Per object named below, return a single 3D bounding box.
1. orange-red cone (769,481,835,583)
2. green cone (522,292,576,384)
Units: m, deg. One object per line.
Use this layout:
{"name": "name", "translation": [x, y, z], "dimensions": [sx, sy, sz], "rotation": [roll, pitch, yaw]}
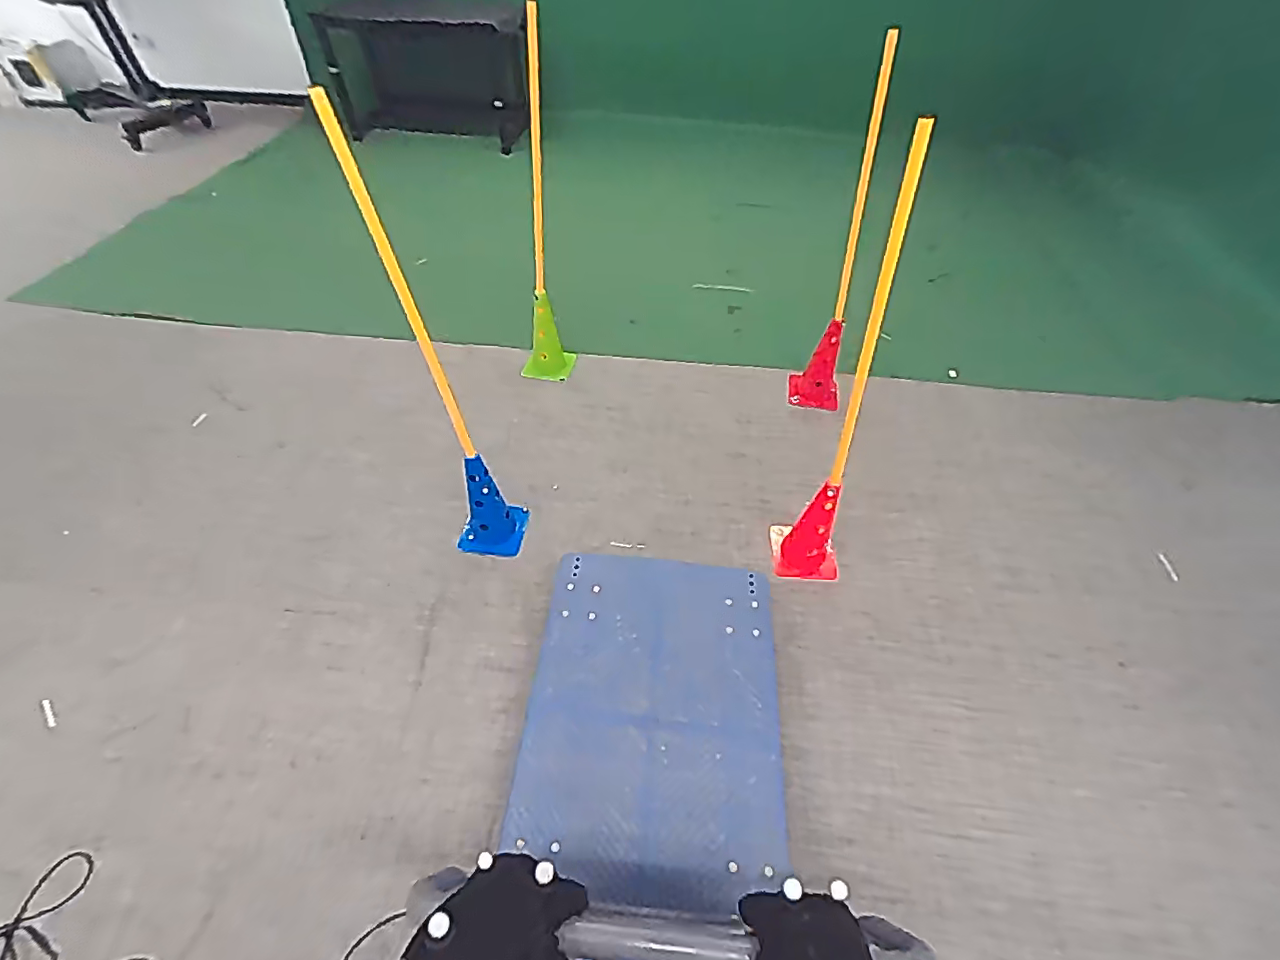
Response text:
{"name": "orange-red cone", "translation": [0.523, 0.133, 1.635], "dimensions": [0.199, 0.360, 0.198], "rotation": [4, 48, 3]}
{"name": "green cone", "translation": [-0.393, -0.604, 2.233], "dimensions": [0.202, 0.368, 0.200], "rotation": [8, 49, 6]}
